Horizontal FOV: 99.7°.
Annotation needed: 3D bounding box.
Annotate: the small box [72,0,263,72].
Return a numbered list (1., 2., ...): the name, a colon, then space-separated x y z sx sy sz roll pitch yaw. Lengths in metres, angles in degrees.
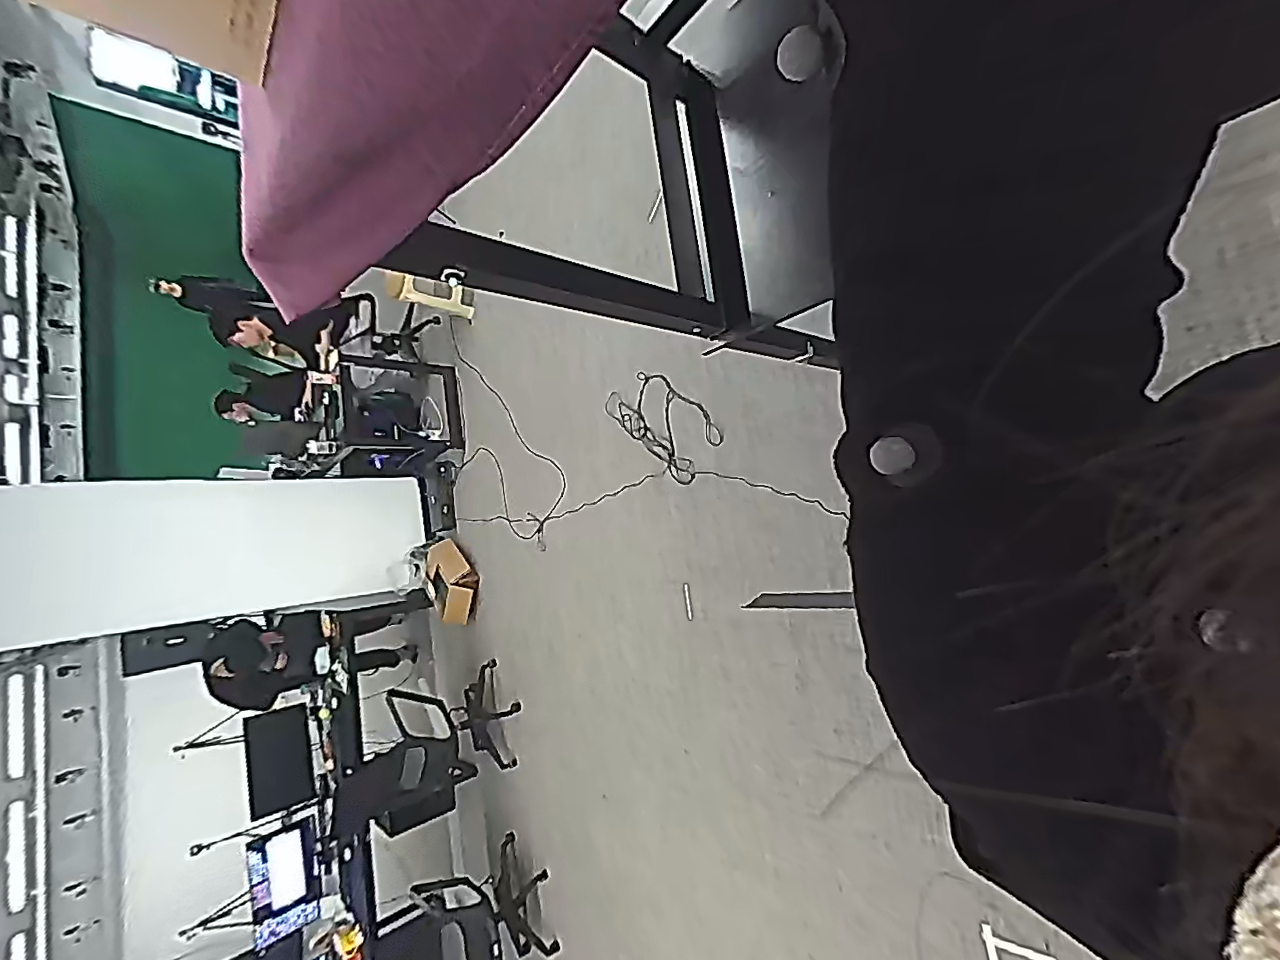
1. small box: -0.364 -0.447 0.375 0.168 0.176 0.179 -16 79 48
